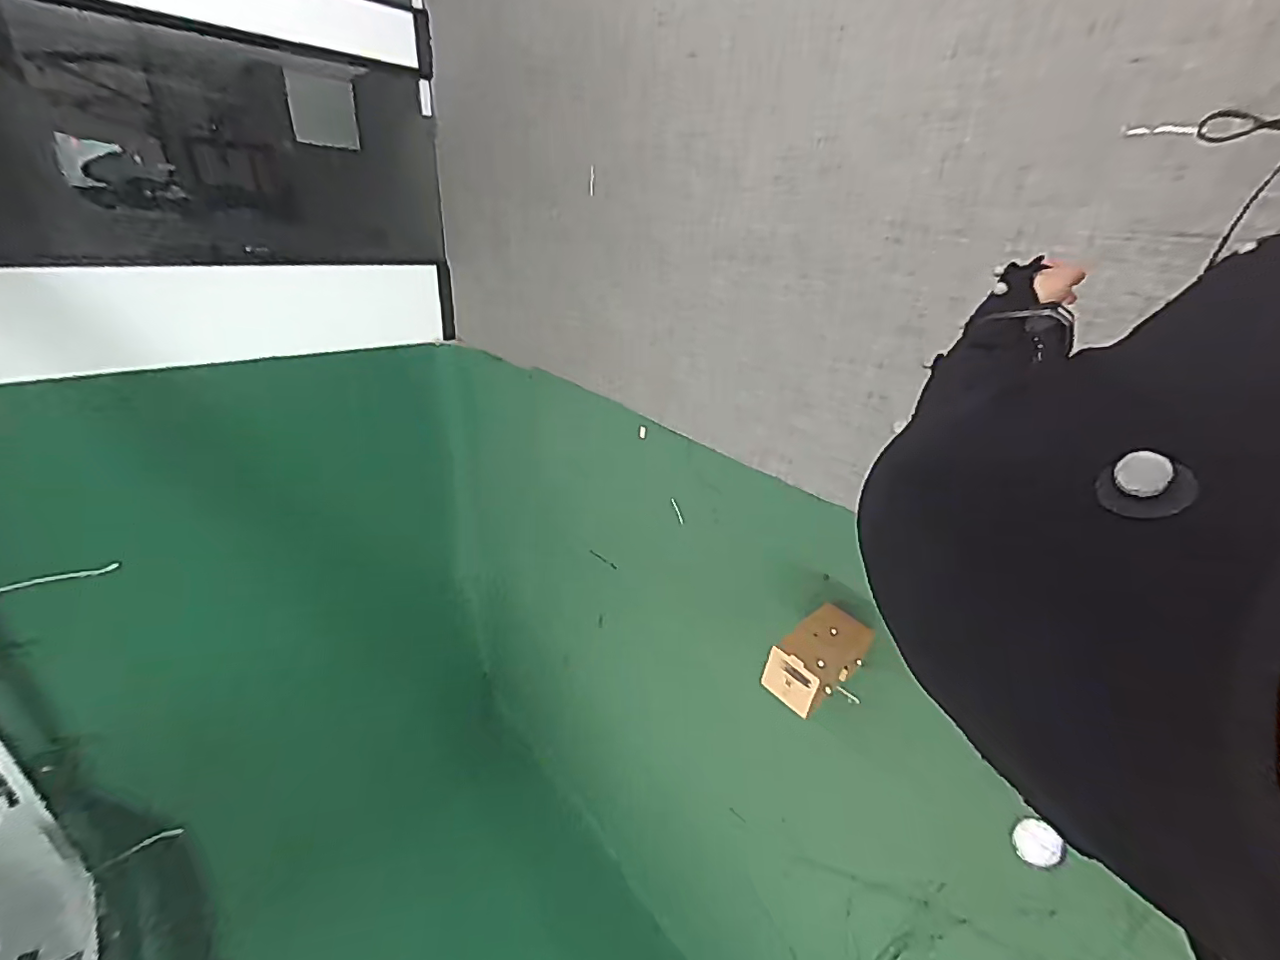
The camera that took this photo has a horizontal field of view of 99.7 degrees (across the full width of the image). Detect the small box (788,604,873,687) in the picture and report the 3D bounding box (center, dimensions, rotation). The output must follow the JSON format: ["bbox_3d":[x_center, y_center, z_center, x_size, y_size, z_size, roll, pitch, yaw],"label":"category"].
[{"bbox_3d":[0.621,0.527,1.763,0.179,0.176,0.168,34,128,38],"label":"small box"}]
